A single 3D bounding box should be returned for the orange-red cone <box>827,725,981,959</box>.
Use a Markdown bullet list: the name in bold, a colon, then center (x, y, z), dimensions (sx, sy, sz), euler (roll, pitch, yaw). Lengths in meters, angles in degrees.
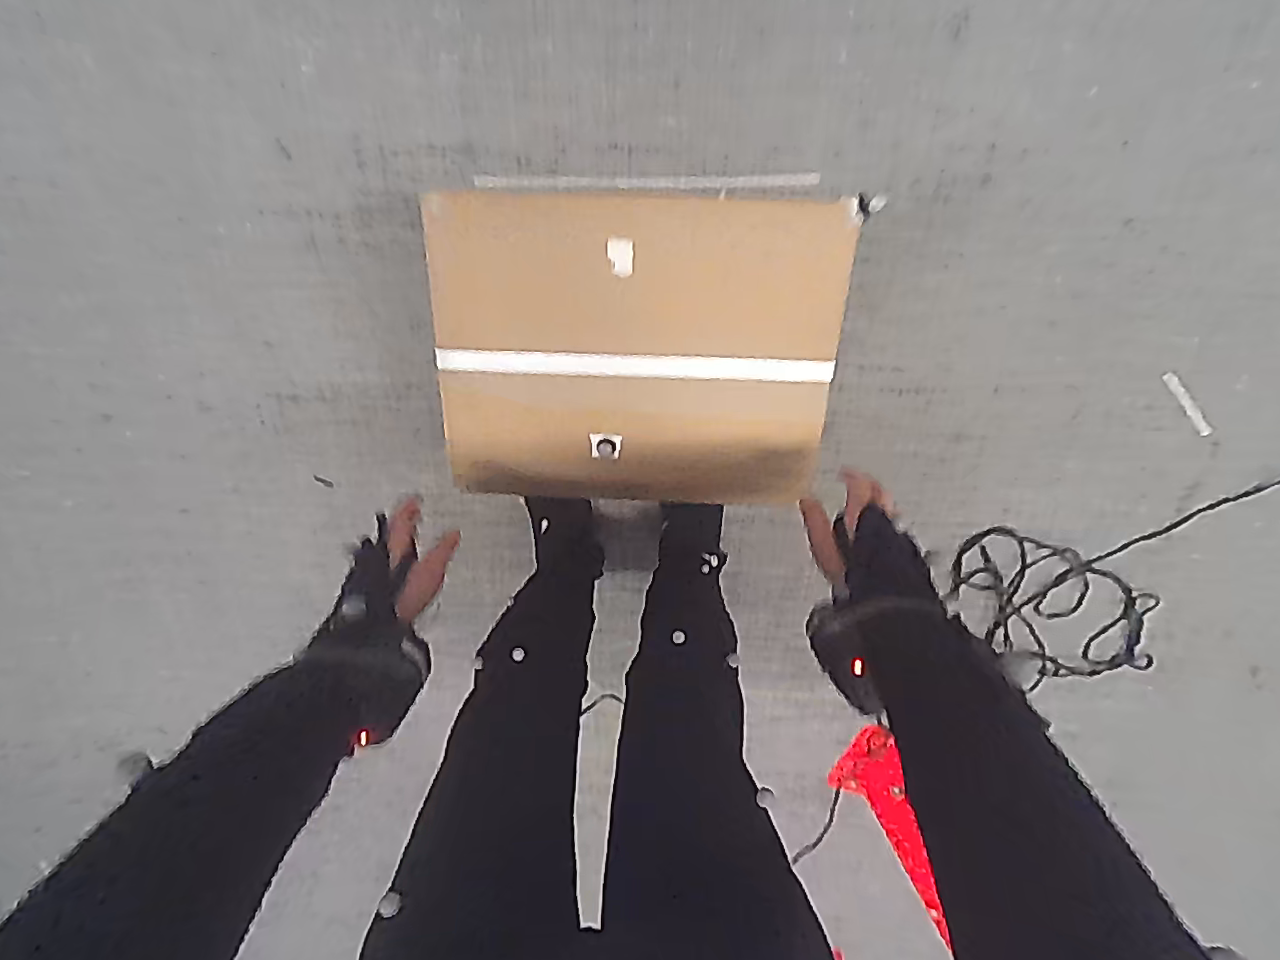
- **orange-red cone**: center (0.528, 0.686, 1.016), dimensions (0.199, 0.360, 0.198), euler (19, 114, -8)
